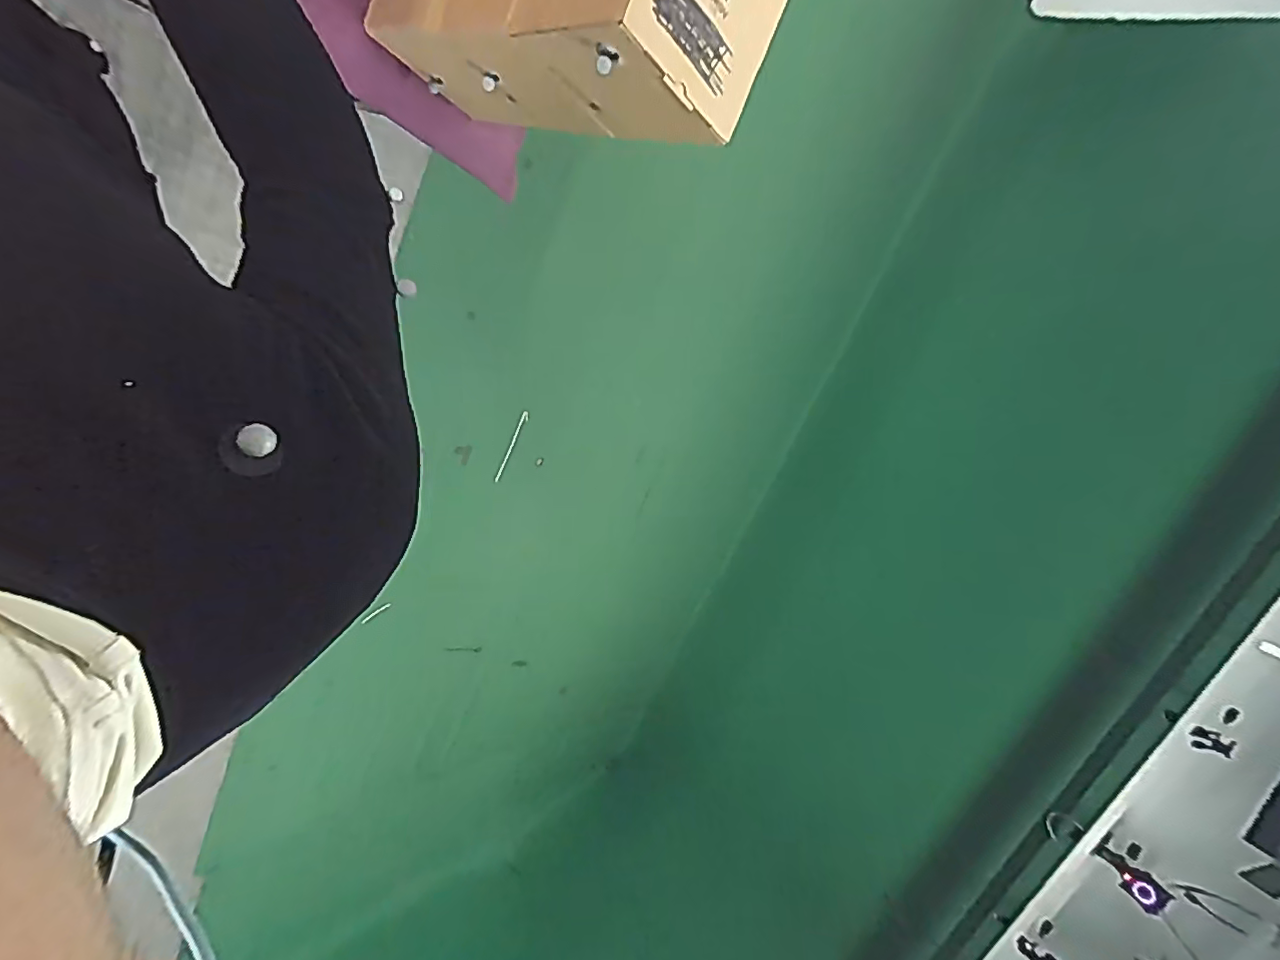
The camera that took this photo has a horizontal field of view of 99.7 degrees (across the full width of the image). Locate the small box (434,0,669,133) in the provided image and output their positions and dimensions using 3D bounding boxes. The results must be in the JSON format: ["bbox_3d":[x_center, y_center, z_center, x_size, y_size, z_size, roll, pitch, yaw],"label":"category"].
[{"bbox_3d":[-0.100,-0.532,0.605,0.168,0.176,0.179,13,106,-53],"label":"small box"}]

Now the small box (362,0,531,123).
[{"bbox_3d":[-0.217,-0.603,0.695,0.179,0.176,0.168,13,107,-55],"label":"small box"}]
